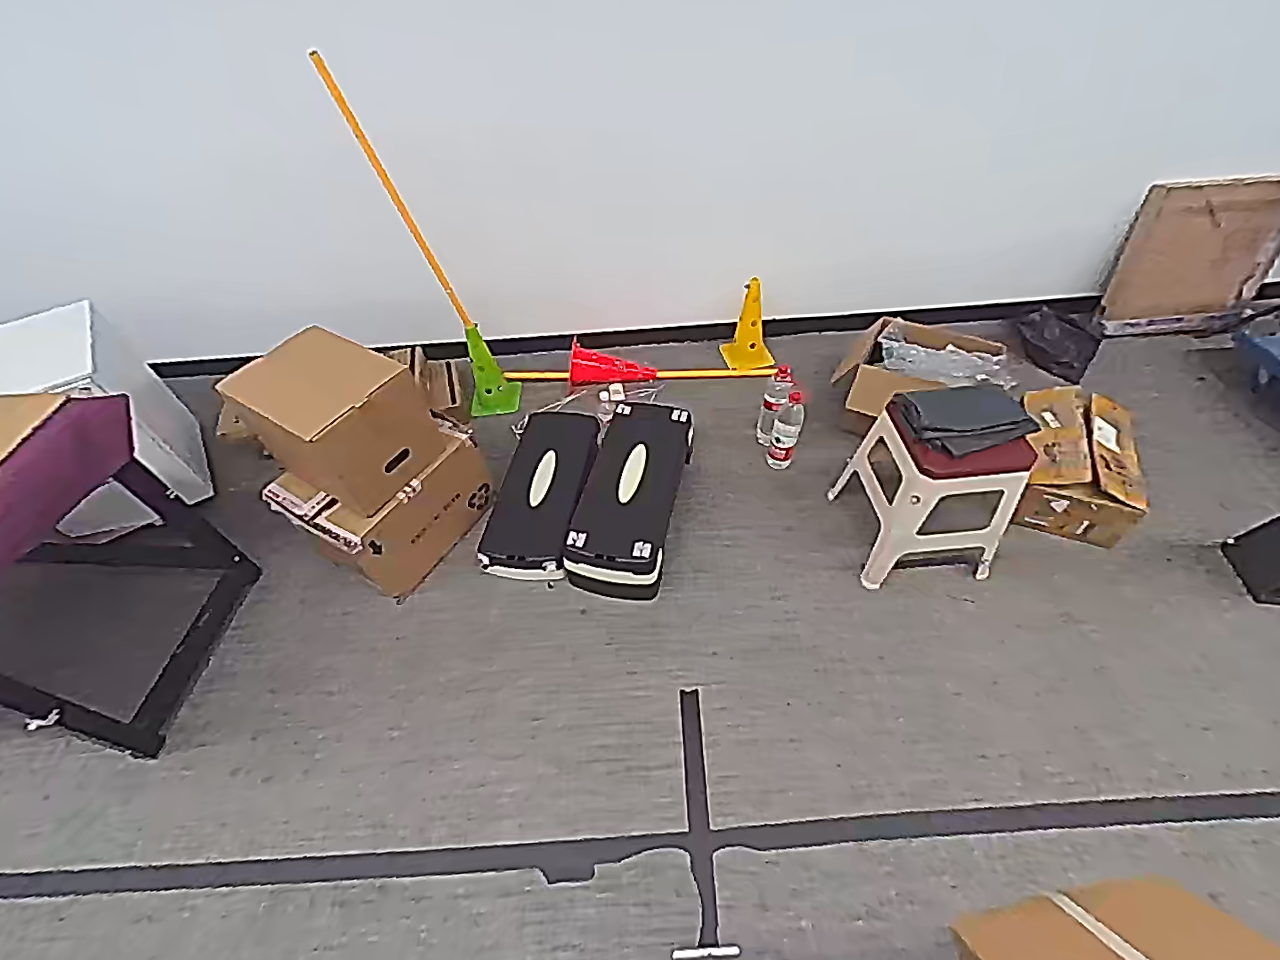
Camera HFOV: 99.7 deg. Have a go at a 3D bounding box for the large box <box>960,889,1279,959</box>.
[{"bbox_3d":[0.622,0.721,0.546,0.320,0.408,0.320,-11,82,-2],"label":"large box"}]
